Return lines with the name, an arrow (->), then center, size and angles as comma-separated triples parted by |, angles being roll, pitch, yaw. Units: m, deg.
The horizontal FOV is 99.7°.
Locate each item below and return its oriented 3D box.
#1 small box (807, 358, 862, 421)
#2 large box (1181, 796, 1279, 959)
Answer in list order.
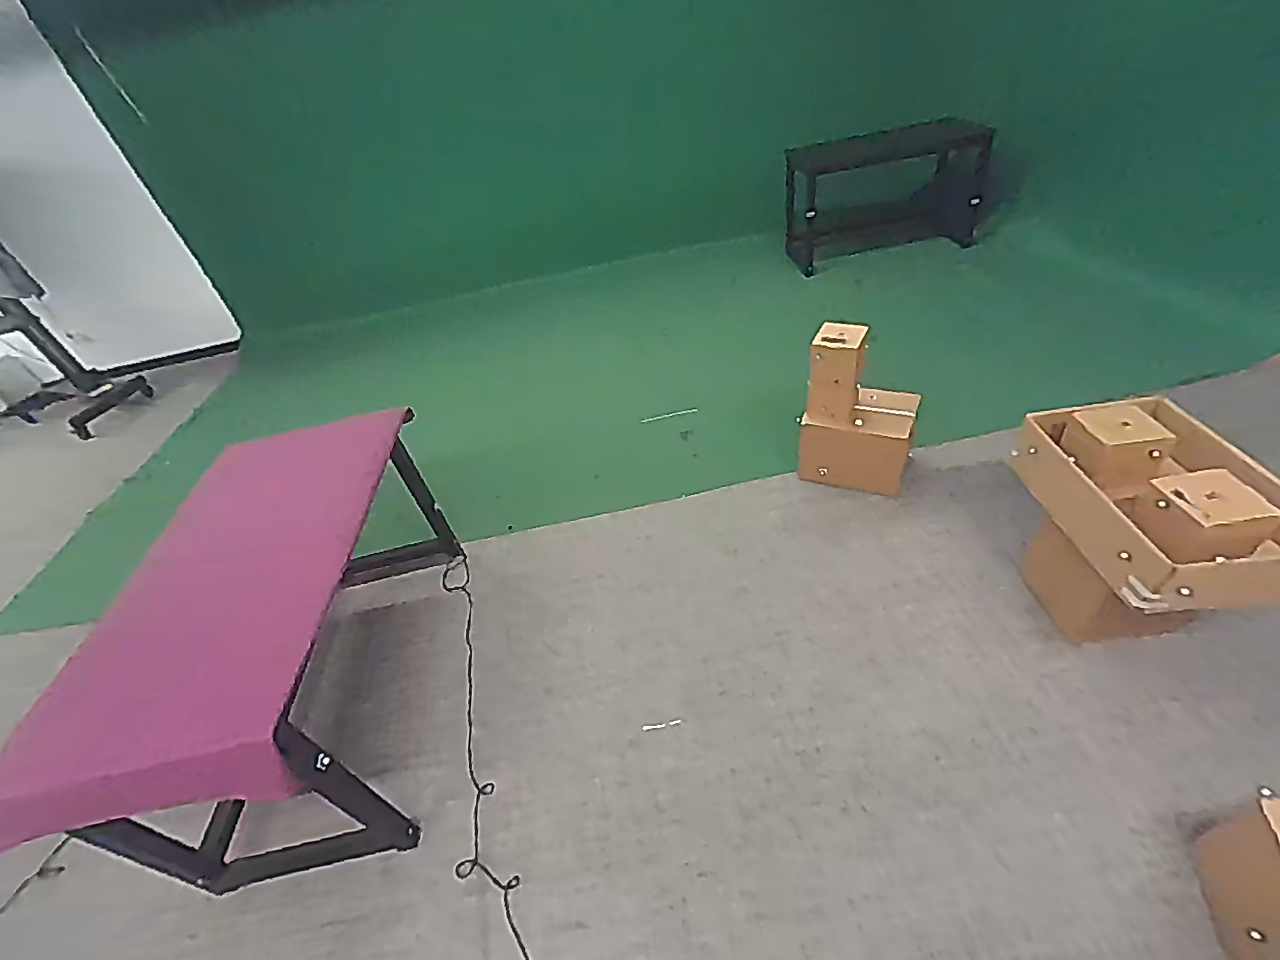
small box -> 0.780, -0.365, 2.175 | 0.168, 0.176, 0.179 | 15, 49, 27
large box -> 1.334, 0.882, 0.992 | 0.320, 0.320, 0.408 | 4, 42, 17
